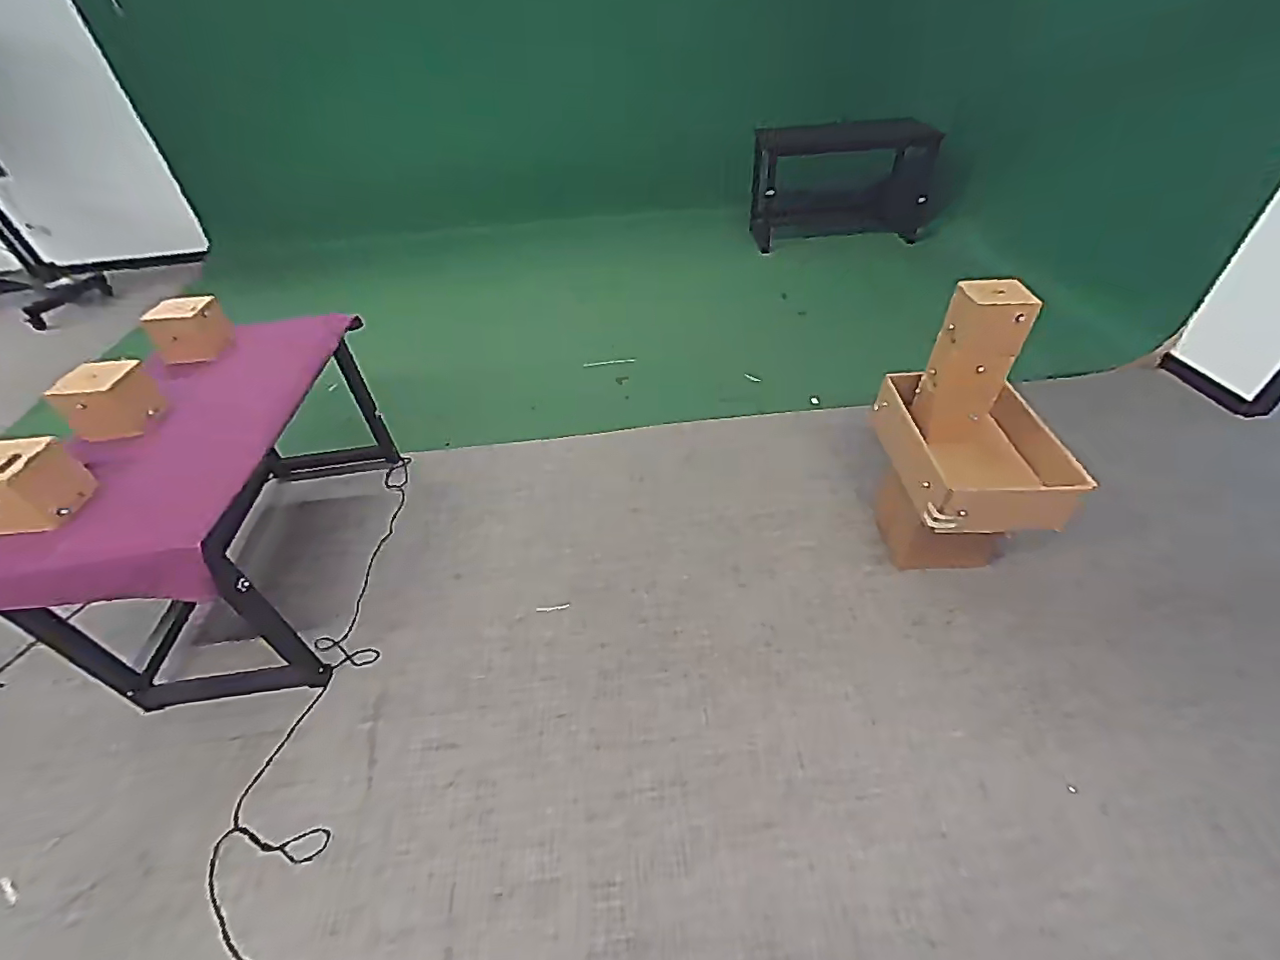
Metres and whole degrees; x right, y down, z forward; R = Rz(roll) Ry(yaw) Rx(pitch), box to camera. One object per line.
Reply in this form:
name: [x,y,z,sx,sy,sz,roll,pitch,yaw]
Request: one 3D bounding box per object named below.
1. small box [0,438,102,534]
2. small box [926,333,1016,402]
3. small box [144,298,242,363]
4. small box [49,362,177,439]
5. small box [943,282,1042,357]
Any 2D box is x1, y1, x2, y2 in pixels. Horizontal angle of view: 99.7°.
small box: [-1.514,0.016,1.335,0.179,0.176,0.168,-5,42,-2]
small box: [1.062,-0.364,1.750,0.179,0.176,0.168,0,43,5]
small box: [-1.588,-0.531,1.933,0.179,0.176,0.168,-6,44,-1]
small box: [-1.560,-0.234,1.614,0.179,0.176,0.168,-4,43,-1]
small box: [1.057,-0.485,1.638,0.179,0.176,0.168,0,42,5]
